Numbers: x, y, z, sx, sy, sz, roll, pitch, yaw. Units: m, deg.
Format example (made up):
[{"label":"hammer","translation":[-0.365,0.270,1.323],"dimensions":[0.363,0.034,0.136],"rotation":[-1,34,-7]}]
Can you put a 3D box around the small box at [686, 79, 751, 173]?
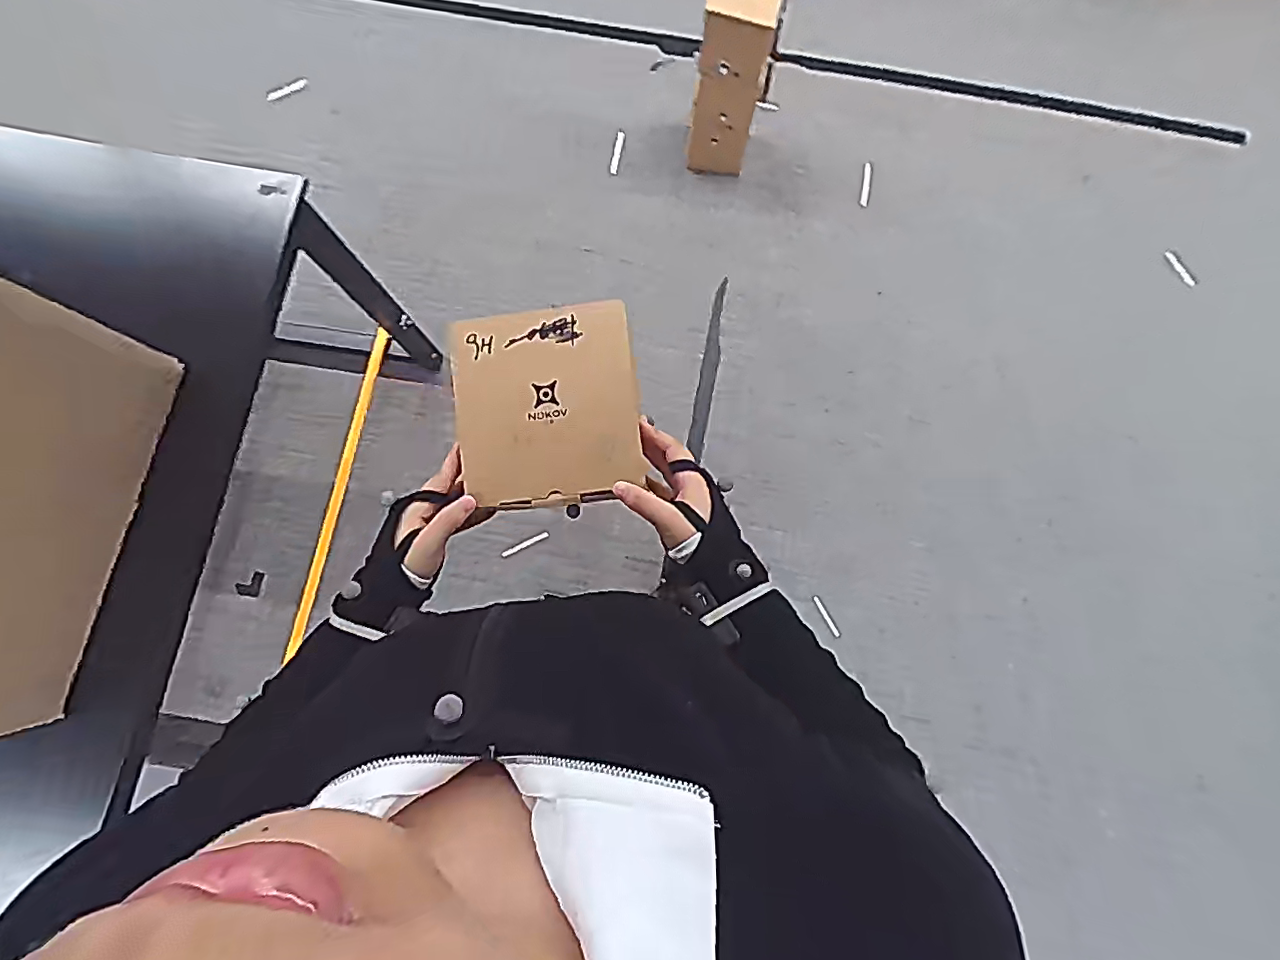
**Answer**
[{"label":"small box","translation":[0.240,-1.071,1.646],"dimensions":[0.179,0.176,0.168],"rotation":[7,81,-1]}]

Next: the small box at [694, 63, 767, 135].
[{"label":"small box","translation":[0.249,-1.097,1.484],"dimensions":[0.168,0.176,0.179],"rotation":[11,81,1]}]

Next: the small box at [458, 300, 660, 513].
[{"label":"small box","translation":[-0.070,-0.064,0.557],"dimensions":[0.168,0.176,0.179],"rotation":[-6,88,3]}]

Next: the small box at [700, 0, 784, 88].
[{"label":"small box","translation":[0.250,-1.118,1.322],"dimensions":[0.168,0.176,0.179],"rotation":[16,82,2]}]
